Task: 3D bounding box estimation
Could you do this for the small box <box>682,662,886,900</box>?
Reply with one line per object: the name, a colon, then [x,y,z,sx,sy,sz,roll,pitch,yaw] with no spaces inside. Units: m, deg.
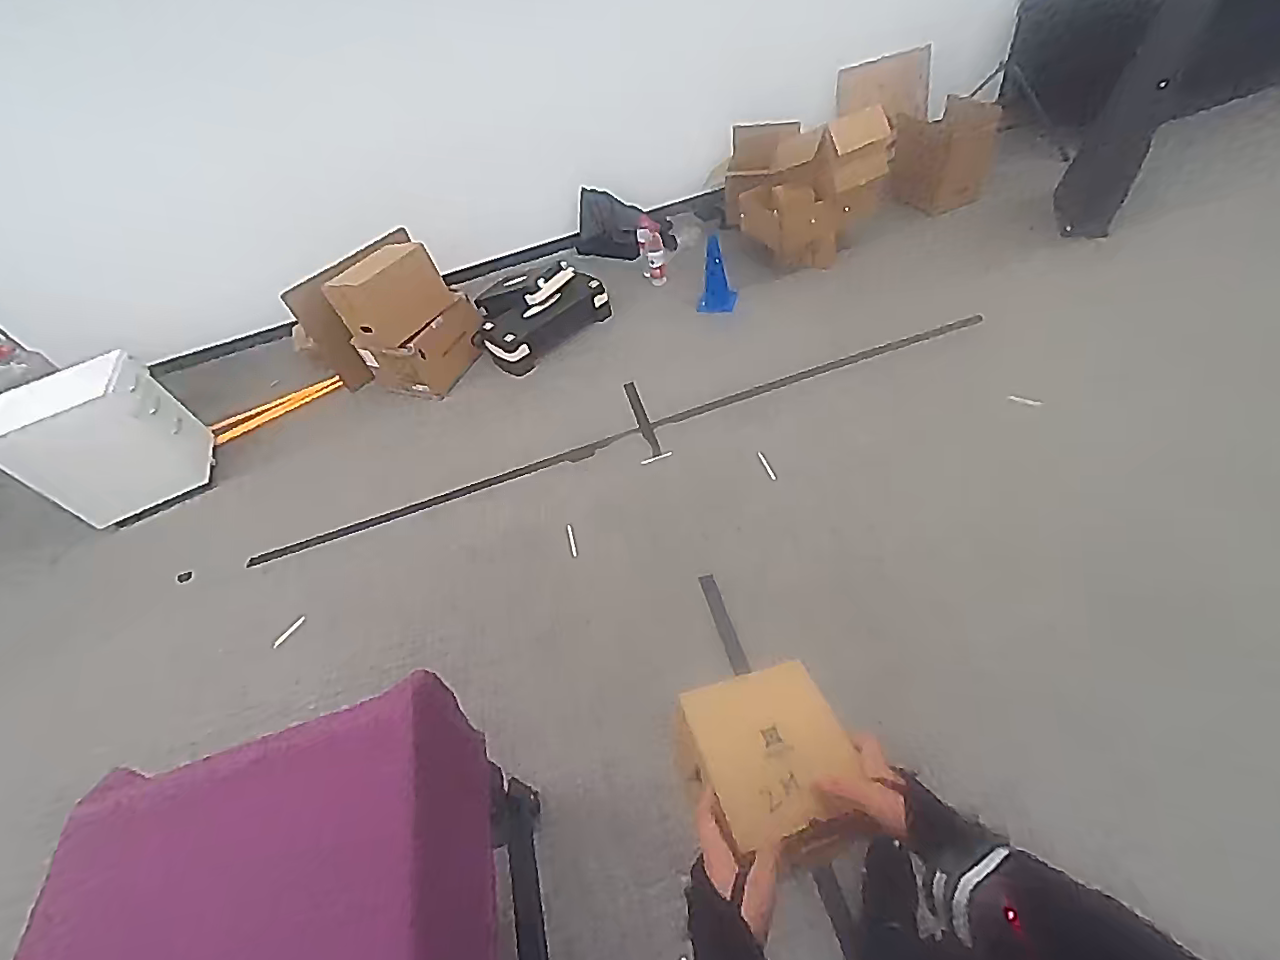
small box: [0.153,0.357,0.650,0.168,0.176,0.179,-12,41,-12]
